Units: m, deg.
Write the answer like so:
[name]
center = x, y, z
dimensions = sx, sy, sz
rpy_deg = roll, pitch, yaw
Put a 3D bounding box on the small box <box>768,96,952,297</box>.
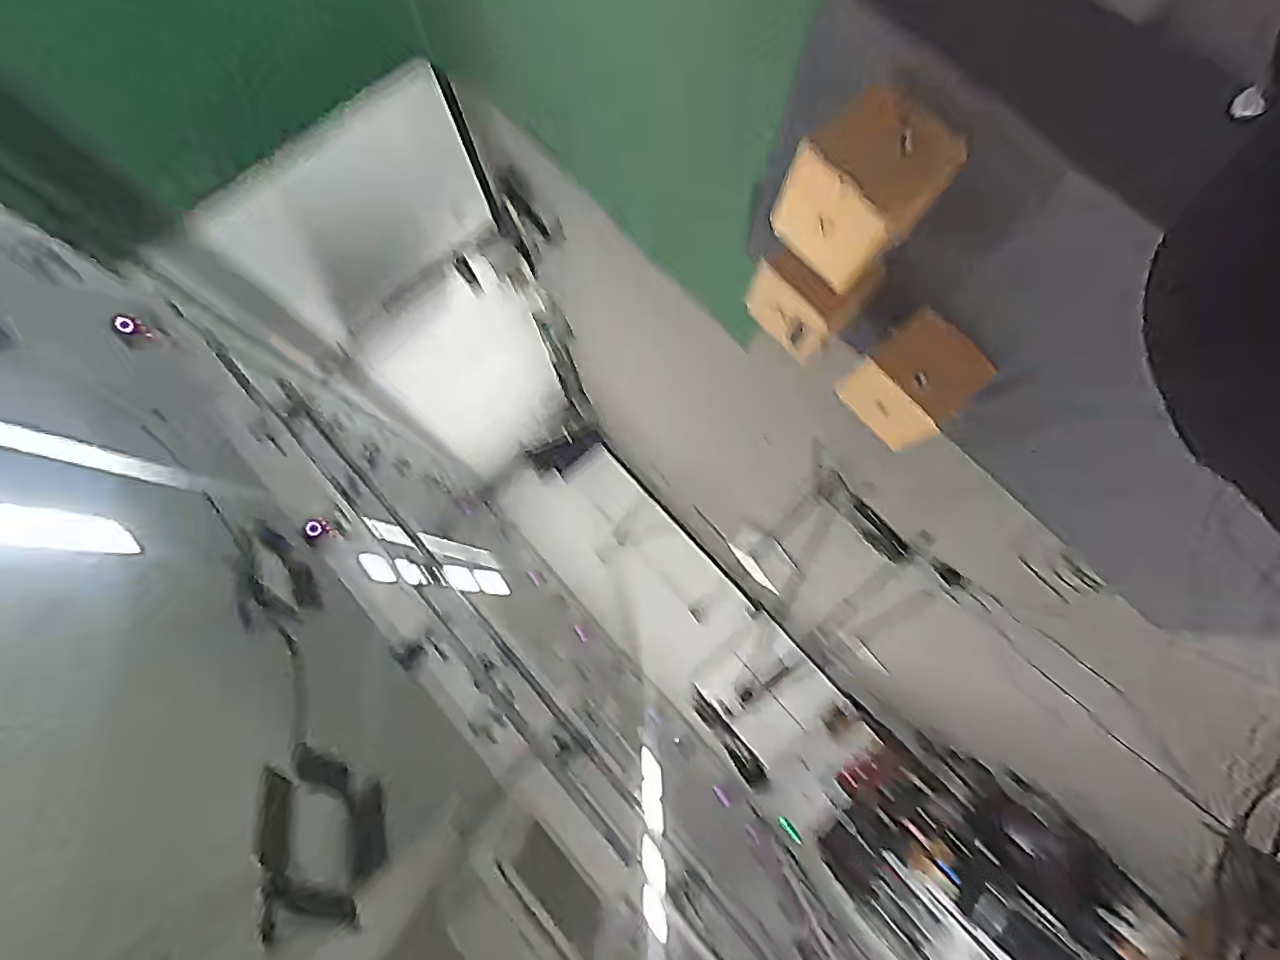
[small box]
center = 0.331, -0.429, 0.833
dimensions = 0.168, 0.176, 0.179
rpy_deg = 46, 171, 7
